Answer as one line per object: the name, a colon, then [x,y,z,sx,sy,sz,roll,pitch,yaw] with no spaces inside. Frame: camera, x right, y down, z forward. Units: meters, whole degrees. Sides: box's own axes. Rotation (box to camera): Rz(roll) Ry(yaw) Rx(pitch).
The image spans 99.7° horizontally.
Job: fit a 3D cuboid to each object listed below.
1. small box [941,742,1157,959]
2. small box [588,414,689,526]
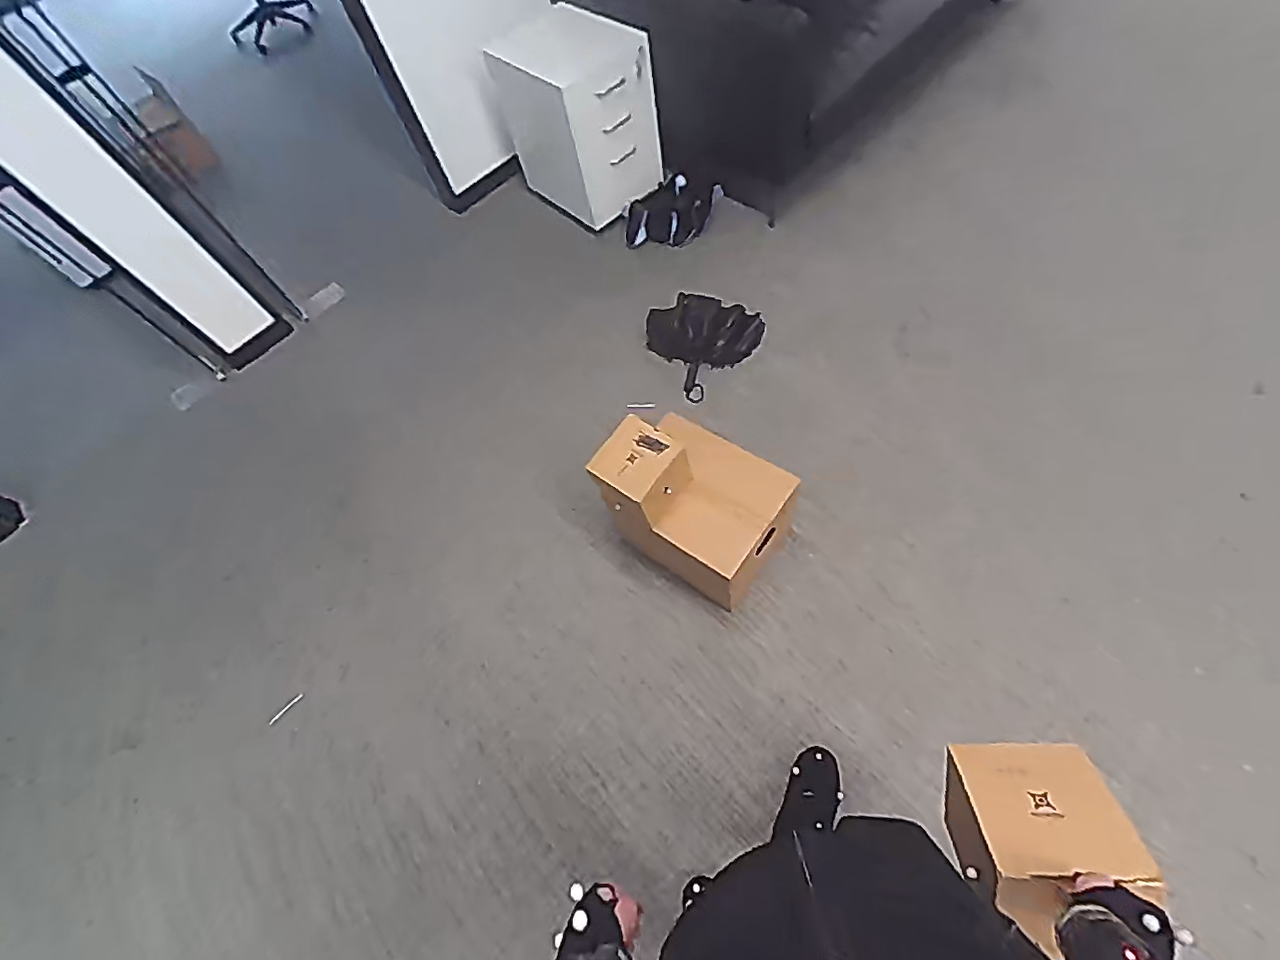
small box: [0.510,0.475,0.706,0.168,0.176,0.179,-5,22,12]
small box: [0.005,-0.019,1.306,0.168,0.176,0.179,33,76,24]
